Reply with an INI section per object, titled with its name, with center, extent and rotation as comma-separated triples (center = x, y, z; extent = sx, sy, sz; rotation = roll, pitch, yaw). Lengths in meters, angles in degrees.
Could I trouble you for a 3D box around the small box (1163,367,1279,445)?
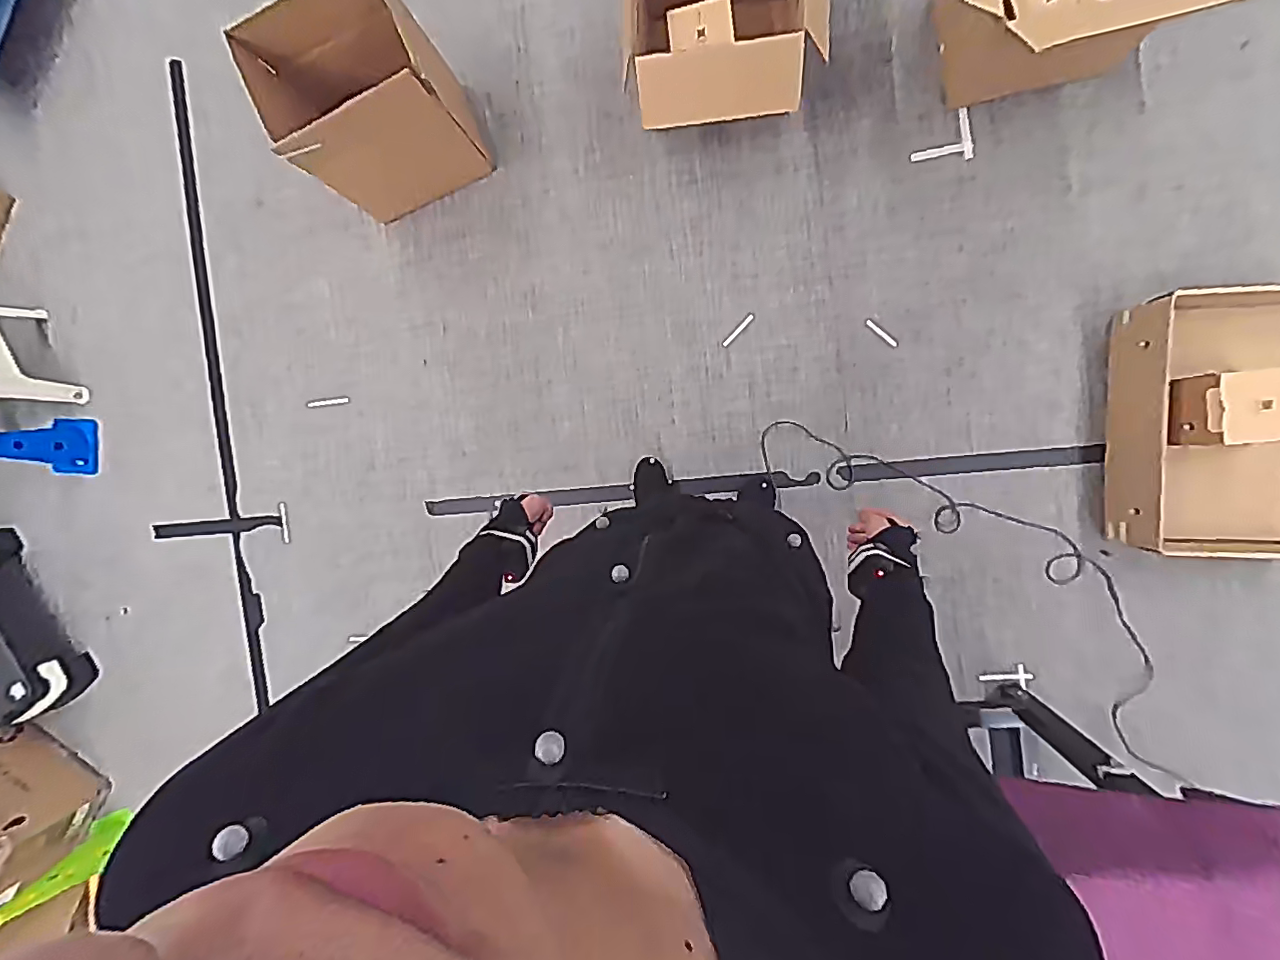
[small box]
center = 1.395, -0.171, 1.283
extent = 0.179, 0.176, 0.168
rotation = -5, 93, 9
